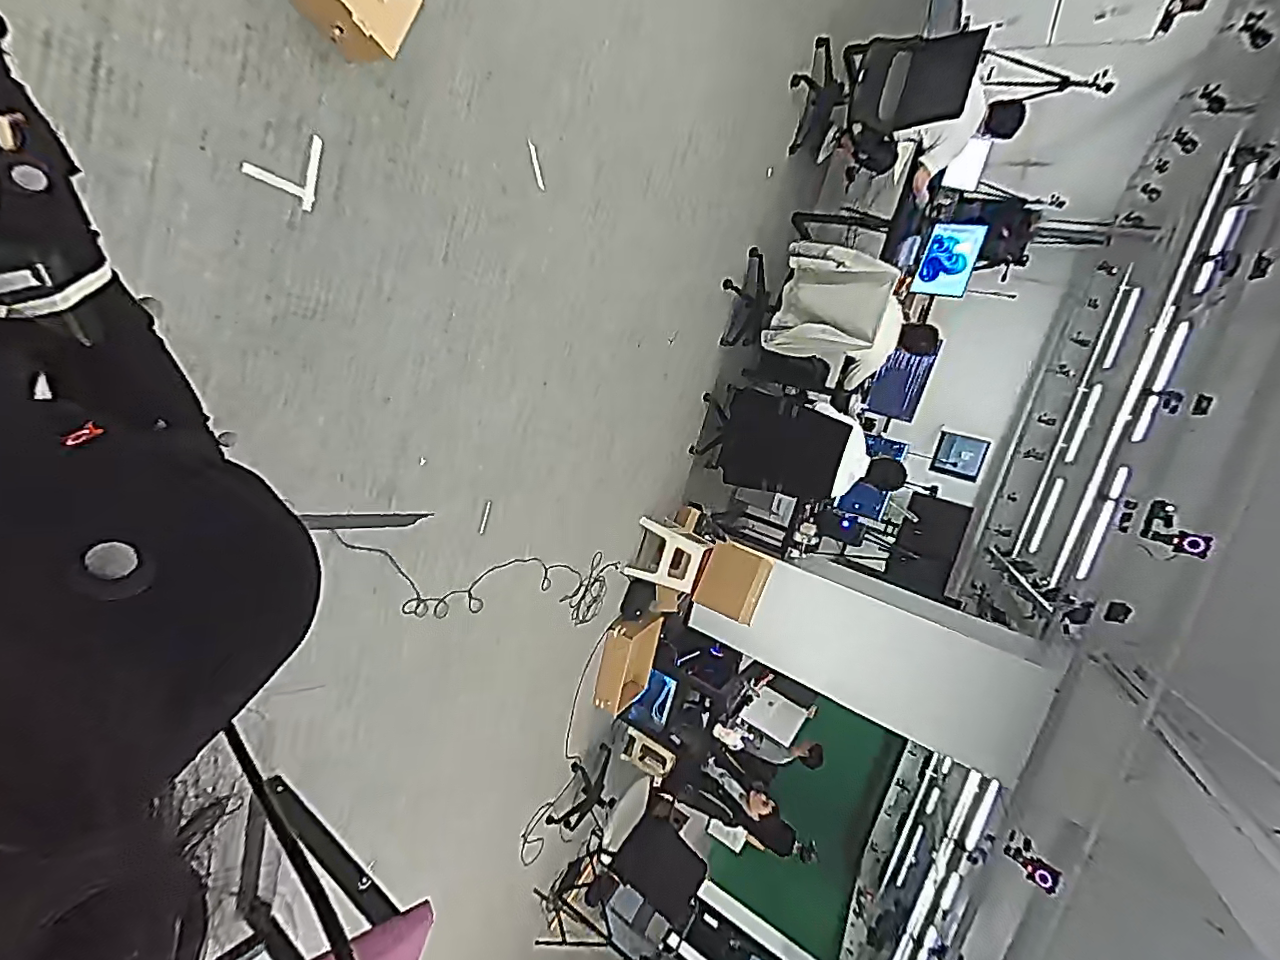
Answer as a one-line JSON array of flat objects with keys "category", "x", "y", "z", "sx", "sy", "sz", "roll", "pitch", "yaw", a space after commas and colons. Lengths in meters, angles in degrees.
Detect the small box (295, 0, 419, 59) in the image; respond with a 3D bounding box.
[{"category": "small box", "x": -0.648, "y": -1.093, "z": 1.220, "sx": 0.179, "sy": 0.176, "sz": 0.168, "roll": -66, "pitch": 152, "yaw": -6}]
